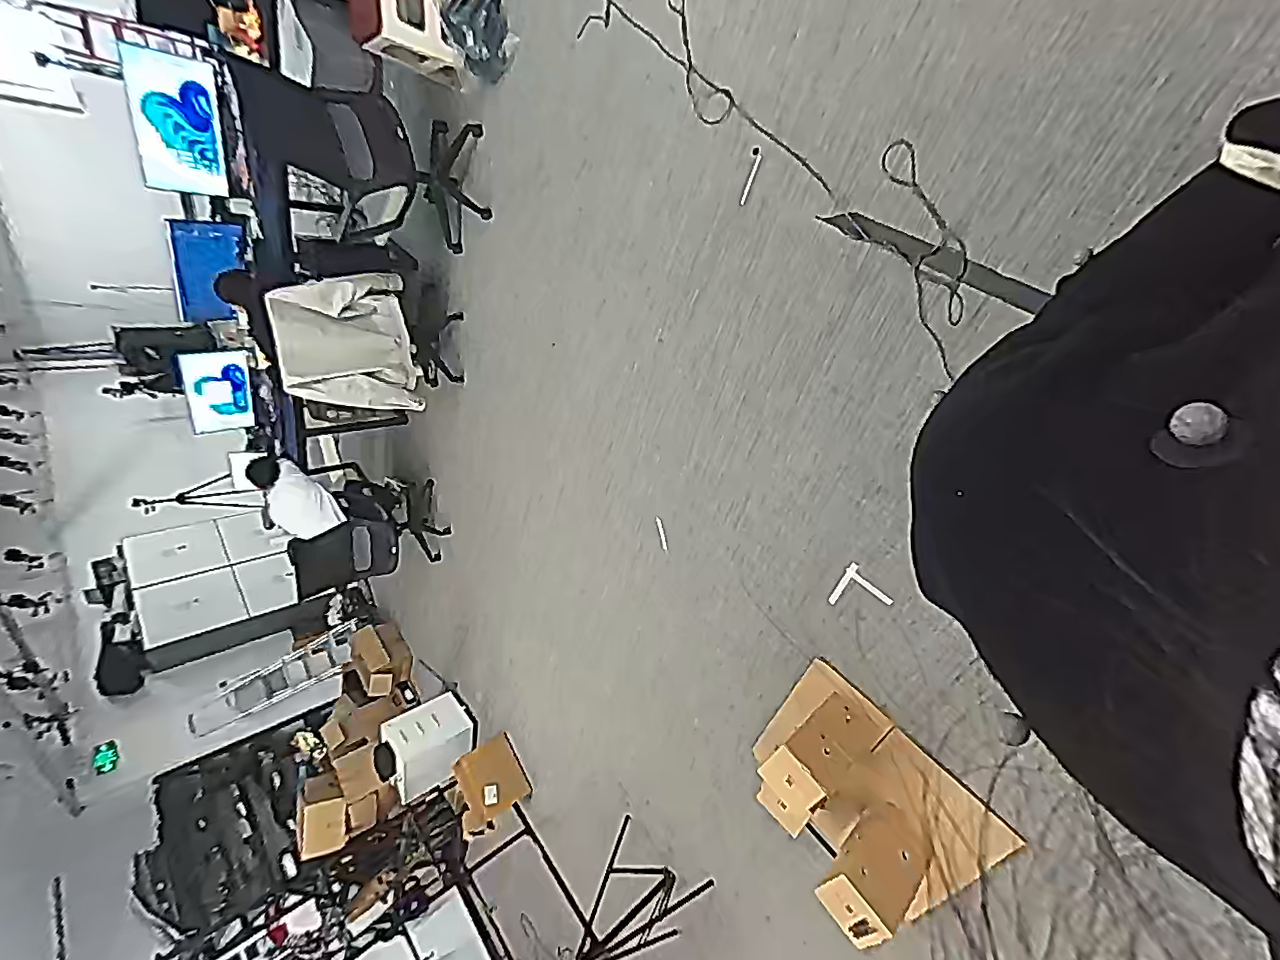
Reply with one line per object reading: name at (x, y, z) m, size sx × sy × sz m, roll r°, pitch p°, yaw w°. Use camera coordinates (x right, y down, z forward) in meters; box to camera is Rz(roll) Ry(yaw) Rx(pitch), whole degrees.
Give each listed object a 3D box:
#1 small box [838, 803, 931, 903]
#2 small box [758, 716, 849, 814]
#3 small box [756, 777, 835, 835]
small box at (0.764, 1.156, 1.683) m, size 0.179 × 0.176 × 0.168 m, roll 49°, pitch 132°, yaw 24°
small box at (0.497, 0.859, 1.637) m, size 0.168 × 0.176 × 0.179 m, roll 45°, pitch 130°, yaw 29°
small box at (0.547, 1.085, 1.902) m, size 0.179 × 0.176 × 0.168 m, roll 38°, pitch 128°, yaw 34°
